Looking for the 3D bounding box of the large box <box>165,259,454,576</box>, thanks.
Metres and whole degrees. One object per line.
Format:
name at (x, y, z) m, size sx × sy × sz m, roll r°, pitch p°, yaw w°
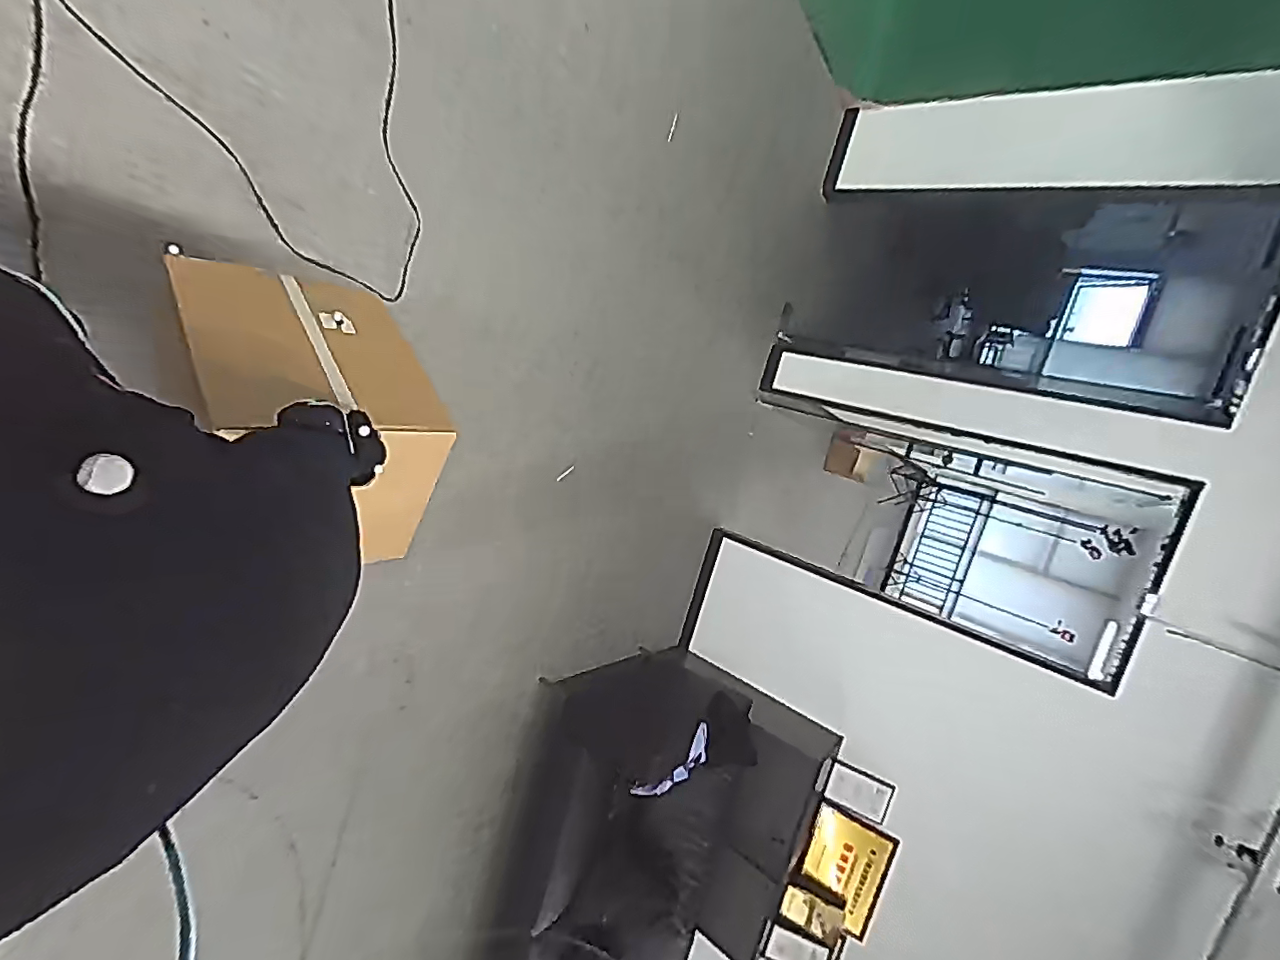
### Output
large box at (-0.580, -0.106, 0.924) m, size 0.320 × 0.408 × 0.320 m, roll -4°, pitch 138°, yaw -47°
